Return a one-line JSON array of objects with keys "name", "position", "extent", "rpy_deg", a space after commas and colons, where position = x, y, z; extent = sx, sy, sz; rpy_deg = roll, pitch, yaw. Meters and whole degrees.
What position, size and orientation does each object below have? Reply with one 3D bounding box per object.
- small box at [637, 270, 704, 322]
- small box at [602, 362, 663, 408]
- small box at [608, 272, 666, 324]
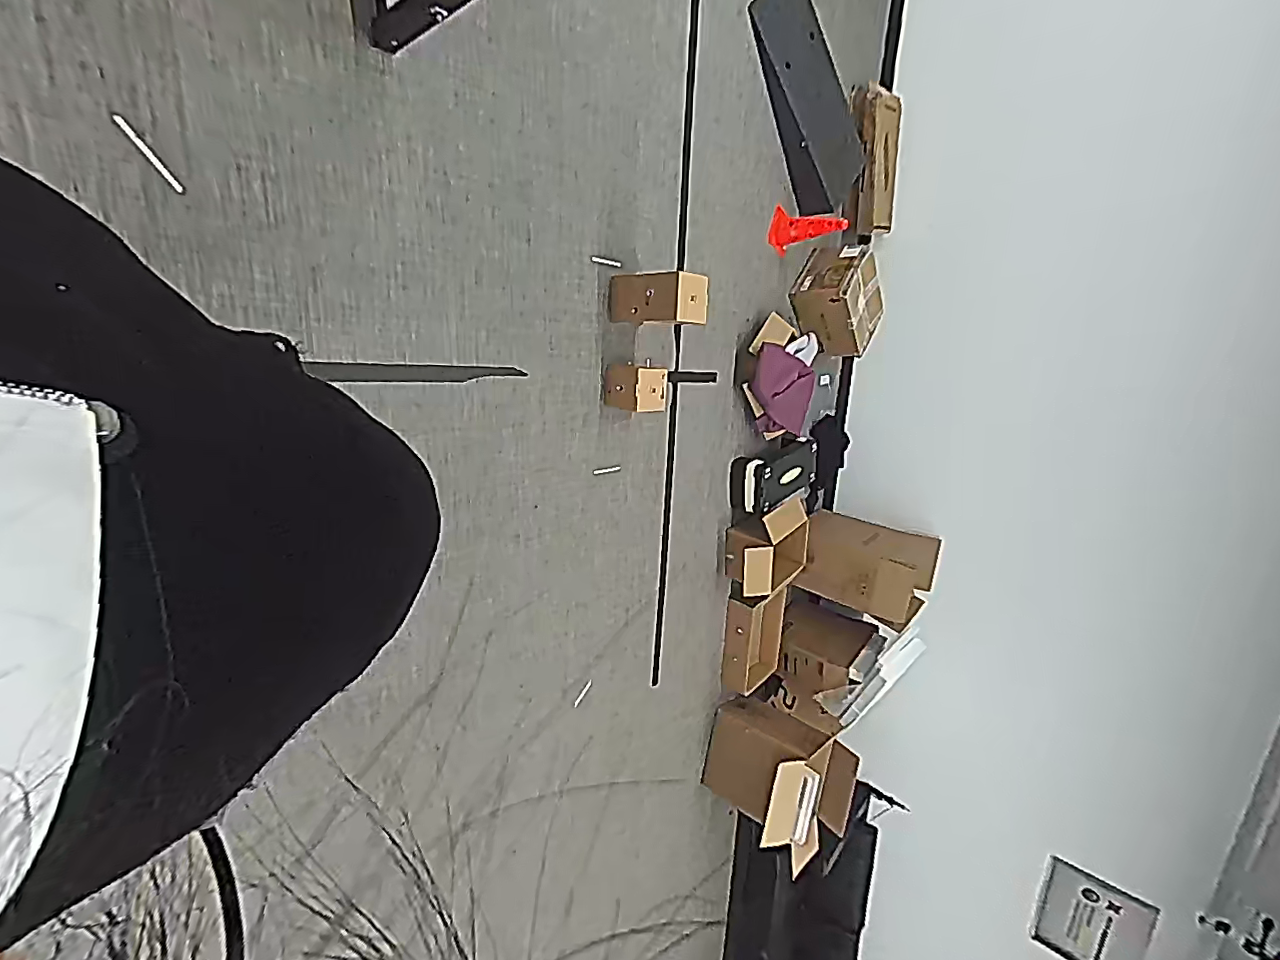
[{"name": "small box", "position": [0.110, -0.660, 1.952], "extent": [0.179, 0.176, 0.168], "rpy_deg": [-14, 110, -46]}, {"name": "small box", "position": [-0.032, -0.374, 2.137], "extent": [0.179, 0.176, 0.168], "rpy_deg": [-11, 110, -47]}, {"name": "small box", "position": [-0.008, -0.691, 2.059], "extent": [0.168, 0.176, 0.179], "rpy_deg": [-16, 113, -47]}]
